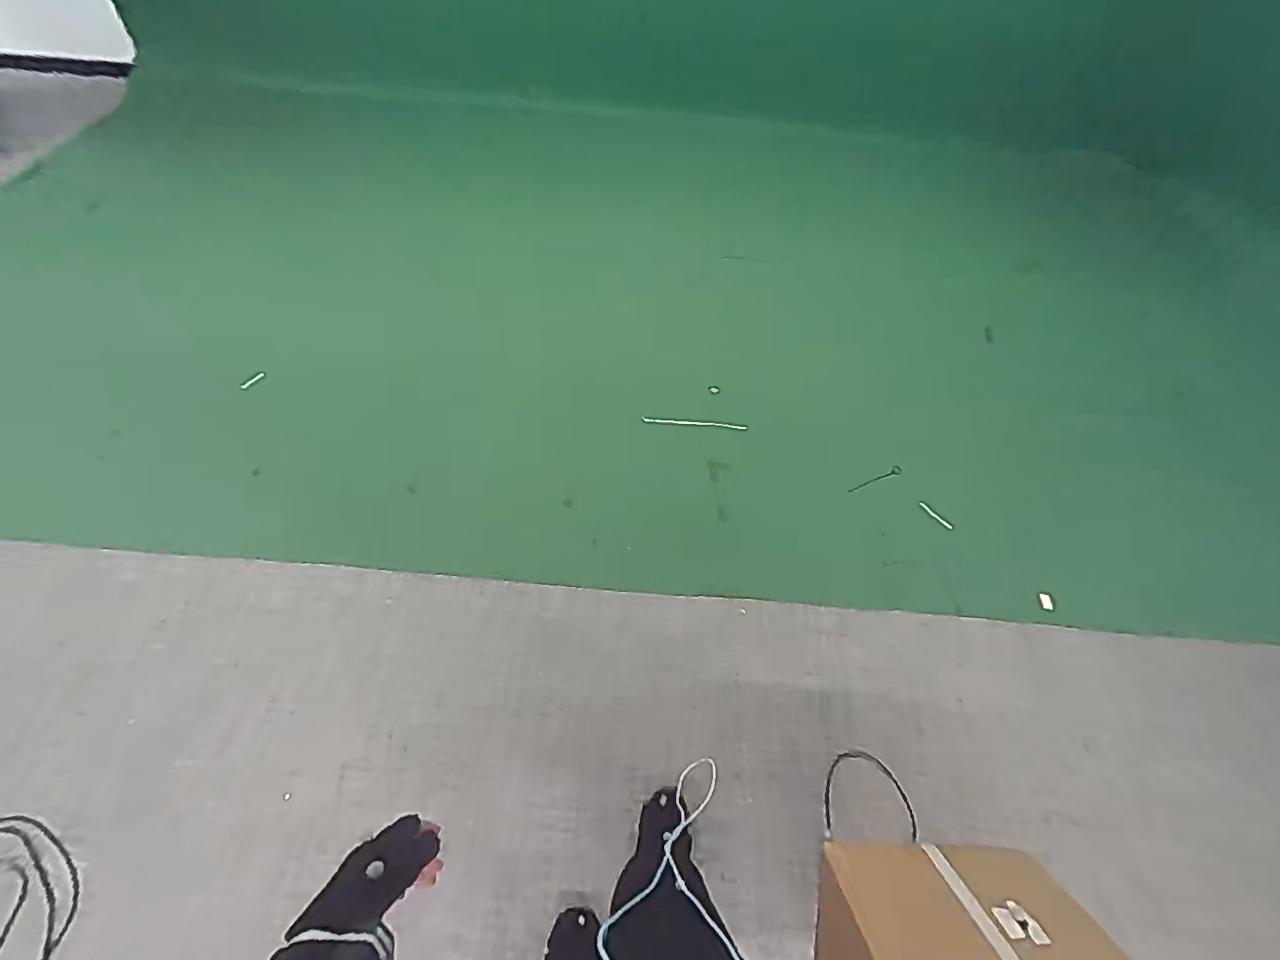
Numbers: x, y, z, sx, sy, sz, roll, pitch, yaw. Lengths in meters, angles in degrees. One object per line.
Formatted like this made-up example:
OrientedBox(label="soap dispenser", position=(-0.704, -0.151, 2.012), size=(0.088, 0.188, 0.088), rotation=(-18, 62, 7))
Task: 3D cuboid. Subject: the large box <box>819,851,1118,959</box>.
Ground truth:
OrientedBox(label="large box", position=(0.421, 0.725, 0.621), size=(0.320, 0.408, 0.320), rotation=(4, 93, 0))
